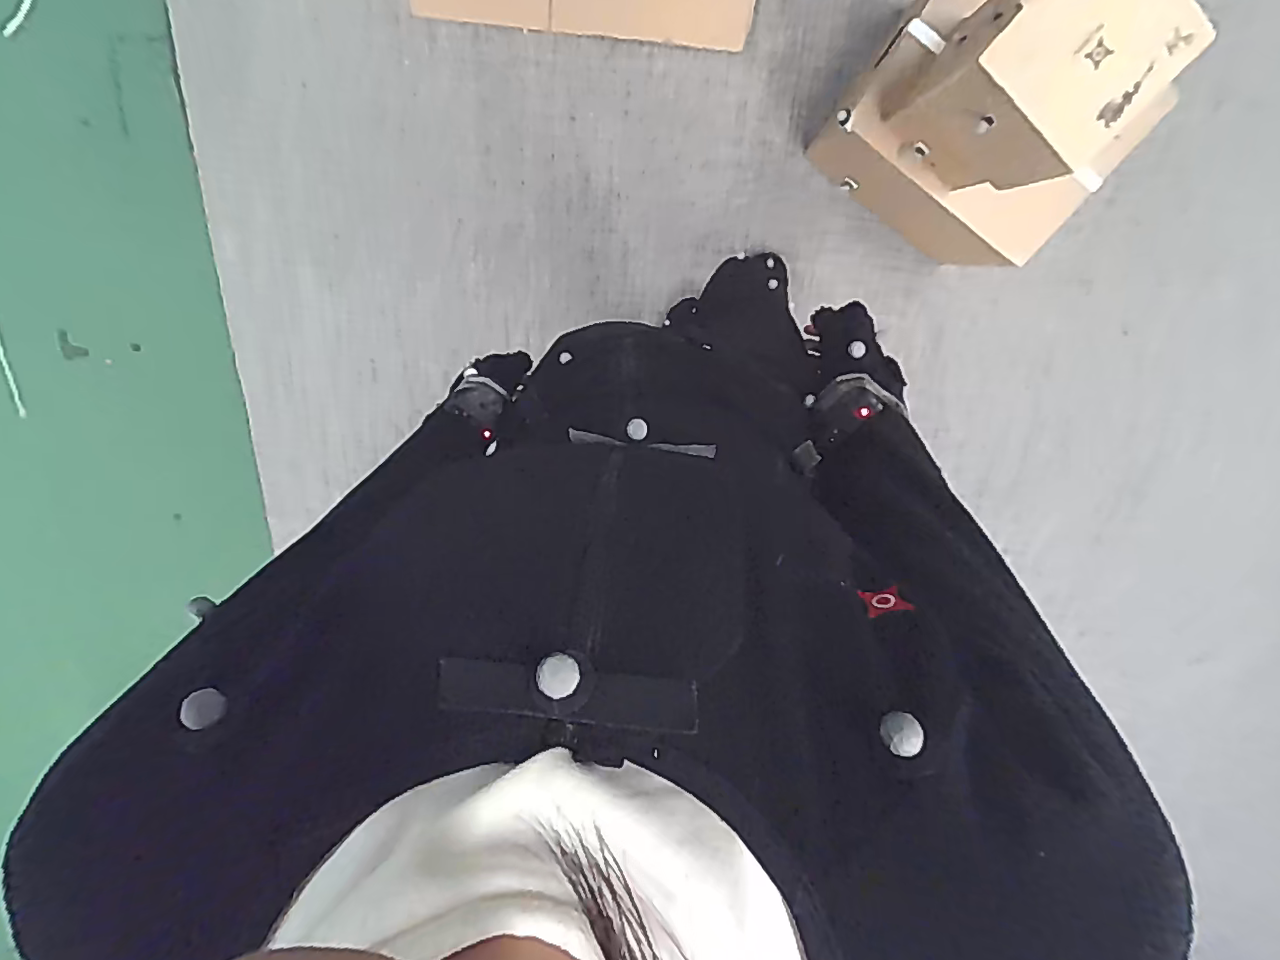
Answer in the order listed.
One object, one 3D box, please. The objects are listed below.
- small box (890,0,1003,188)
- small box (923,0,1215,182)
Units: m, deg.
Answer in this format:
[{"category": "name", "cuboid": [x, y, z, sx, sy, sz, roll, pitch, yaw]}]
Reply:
[{"category": "small box", "cuboid": [0.504, -0.560, 0.787, 0.168, 0.176, 0.179, 36, 112, -8]}, {"category": "small box", "cuboid": [0.482, -0.488, 0.643, 0.179, 0.176, 0.168, 36, 109, -9]}]
